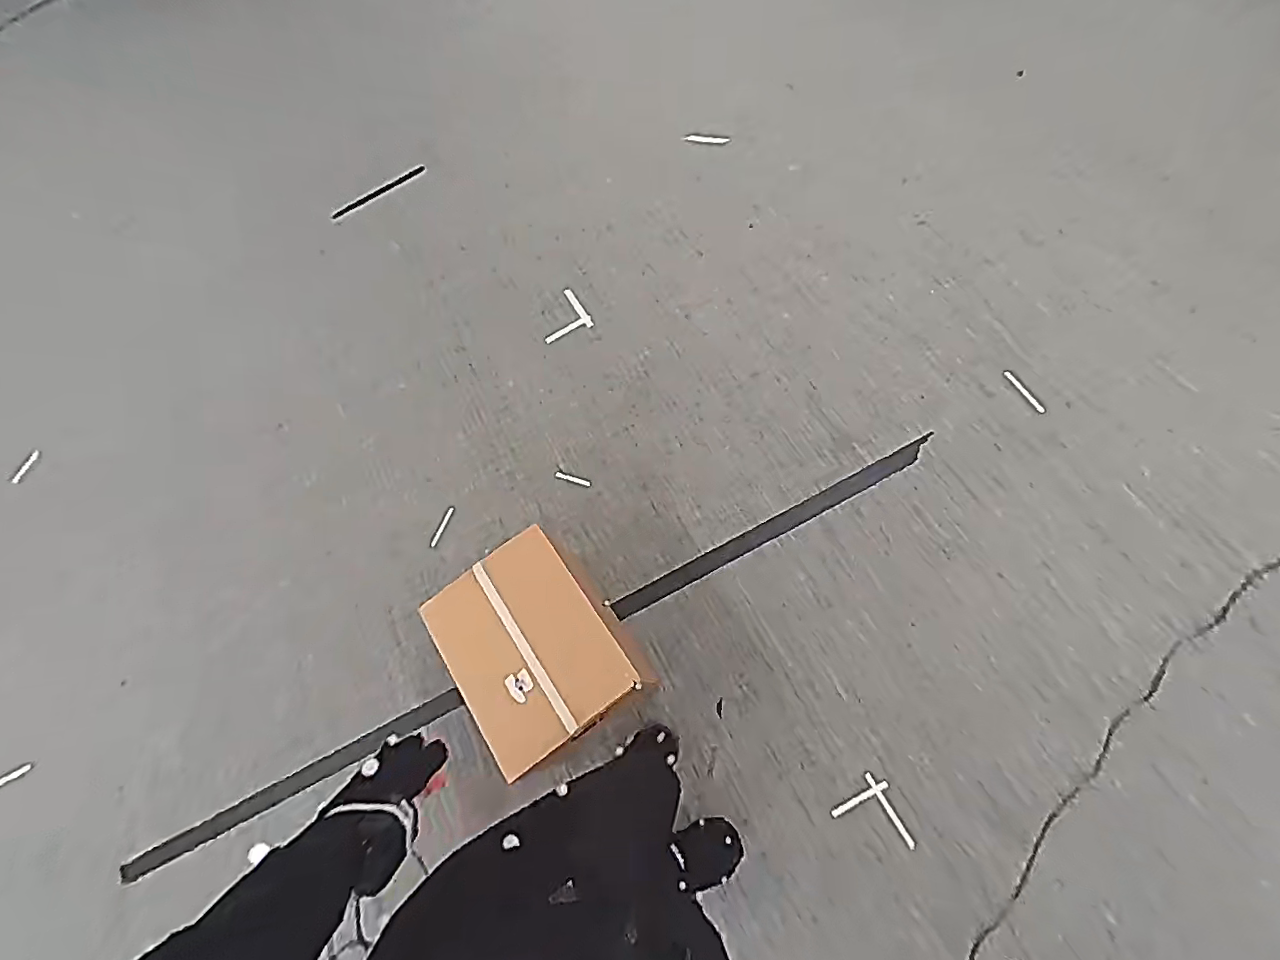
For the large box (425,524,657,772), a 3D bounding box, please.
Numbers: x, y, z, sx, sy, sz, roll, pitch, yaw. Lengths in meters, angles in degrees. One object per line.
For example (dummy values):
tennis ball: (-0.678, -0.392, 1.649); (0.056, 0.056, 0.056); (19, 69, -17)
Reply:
large box: (-0.209, 0.374, 1.244); (0.320, 0.320, 0.408); (-36, 69, -5)
